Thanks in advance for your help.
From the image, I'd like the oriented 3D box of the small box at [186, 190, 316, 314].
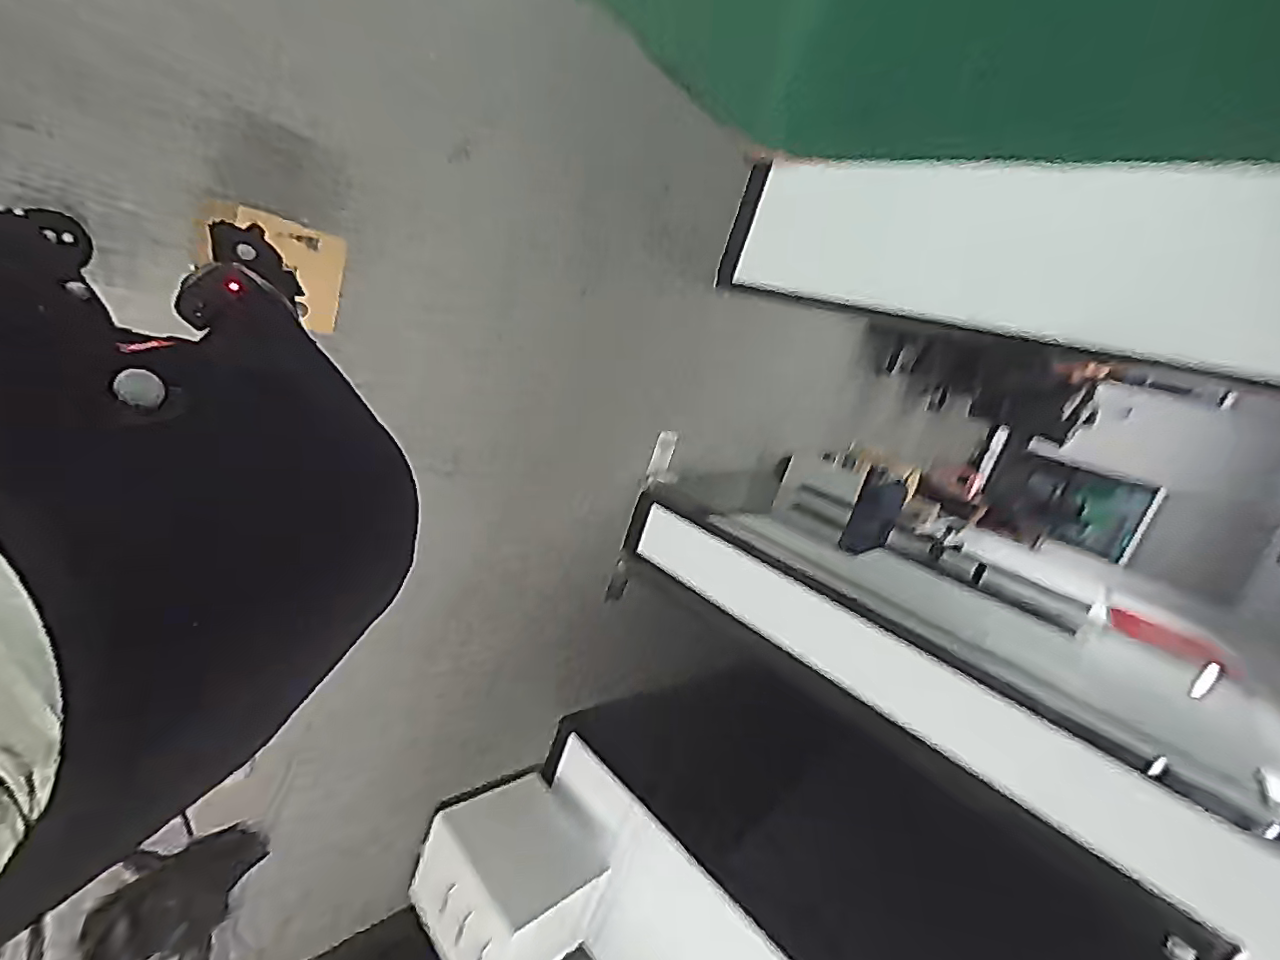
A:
[{"bbox_3d":[-0.778,-0.452,1.076,0.168,0.176,0.179,4,108,-51],"label":"small box"}]
